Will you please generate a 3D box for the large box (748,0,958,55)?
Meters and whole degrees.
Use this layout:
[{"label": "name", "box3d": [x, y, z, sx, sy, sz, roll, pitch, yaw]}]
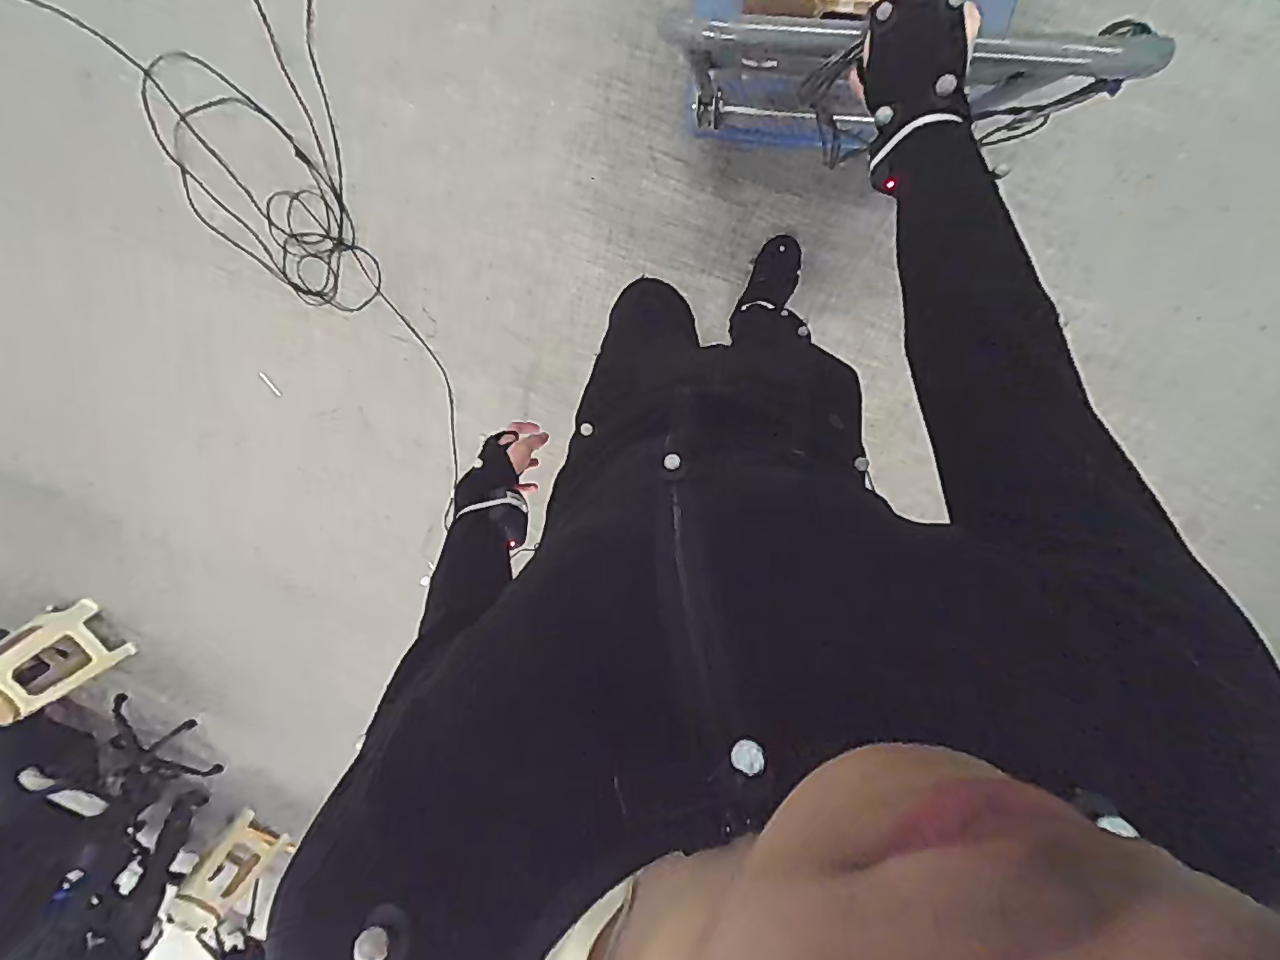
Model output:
[{"label": "large box", "box3d": [0.351, -0.933, 0.813, 0.320, 0.320, 0.408, 12, 118, 6]}]
